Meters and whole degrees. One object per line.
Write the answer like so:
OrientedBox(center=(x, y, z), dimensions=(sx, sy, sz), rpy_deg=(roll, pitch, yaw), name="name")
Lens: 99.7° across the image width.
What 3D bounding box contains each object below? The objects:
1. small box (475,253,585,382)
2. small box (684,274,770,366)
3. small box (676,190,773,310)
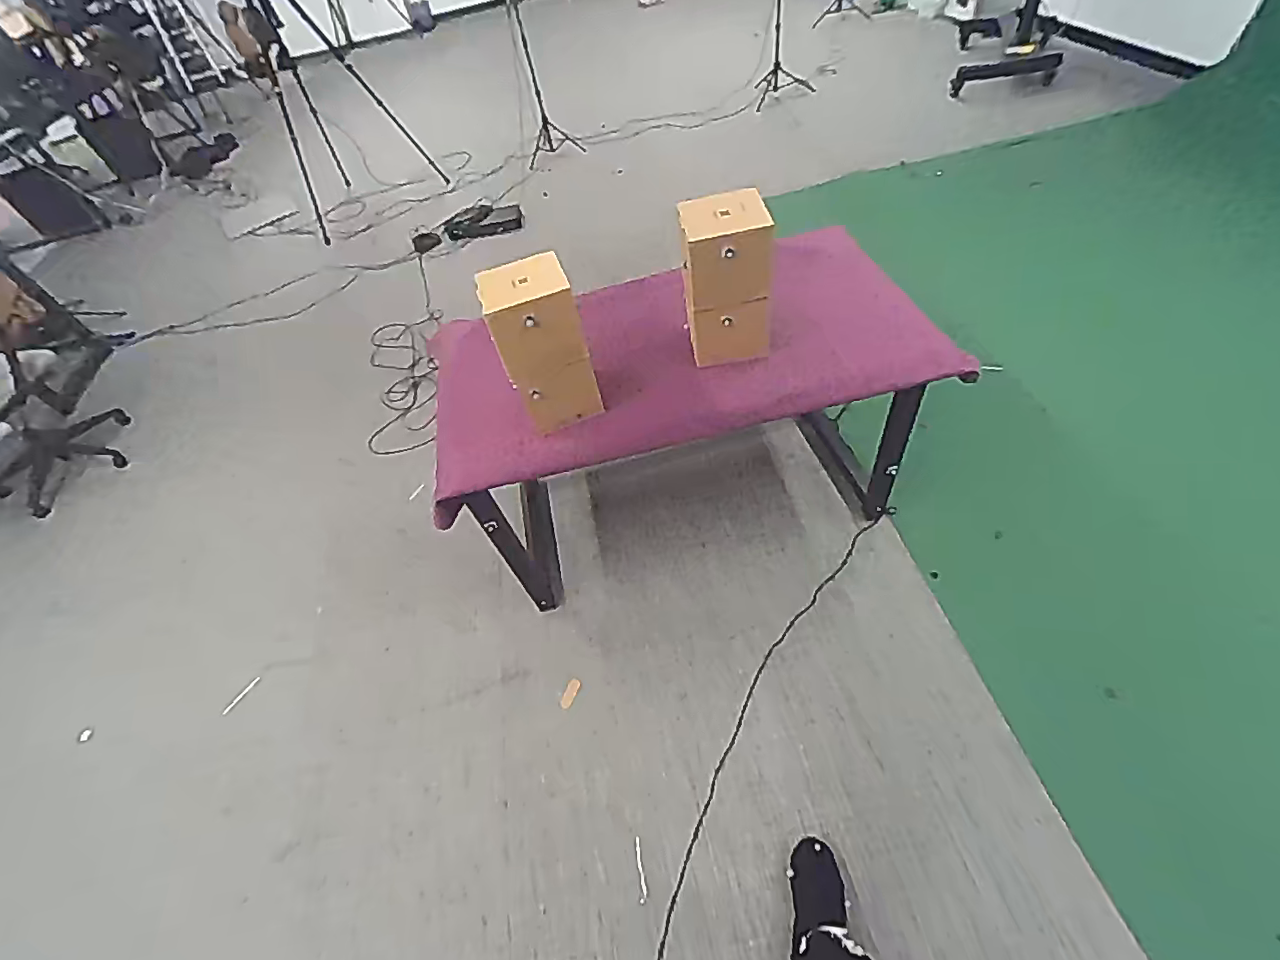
OrientedBox(center=(-0.222, -0.334, 1.123), dimensions=(0.179, 0.176, 0.168), rpy_deg=(-20, 50, -4), name="small box")
OrientedBox(center=(0.207, -0.394, 1.296), dimensions=(0.179, 0.176, 0.168), rpy_deg=(-8, 52, 4), name="small box")
OrientedBox(center=(0.181, -0.489, 1.166), dimensions=(0.179, 0.176, 0.168), rpy_deg=(-9, 52, 4), name="small box")
